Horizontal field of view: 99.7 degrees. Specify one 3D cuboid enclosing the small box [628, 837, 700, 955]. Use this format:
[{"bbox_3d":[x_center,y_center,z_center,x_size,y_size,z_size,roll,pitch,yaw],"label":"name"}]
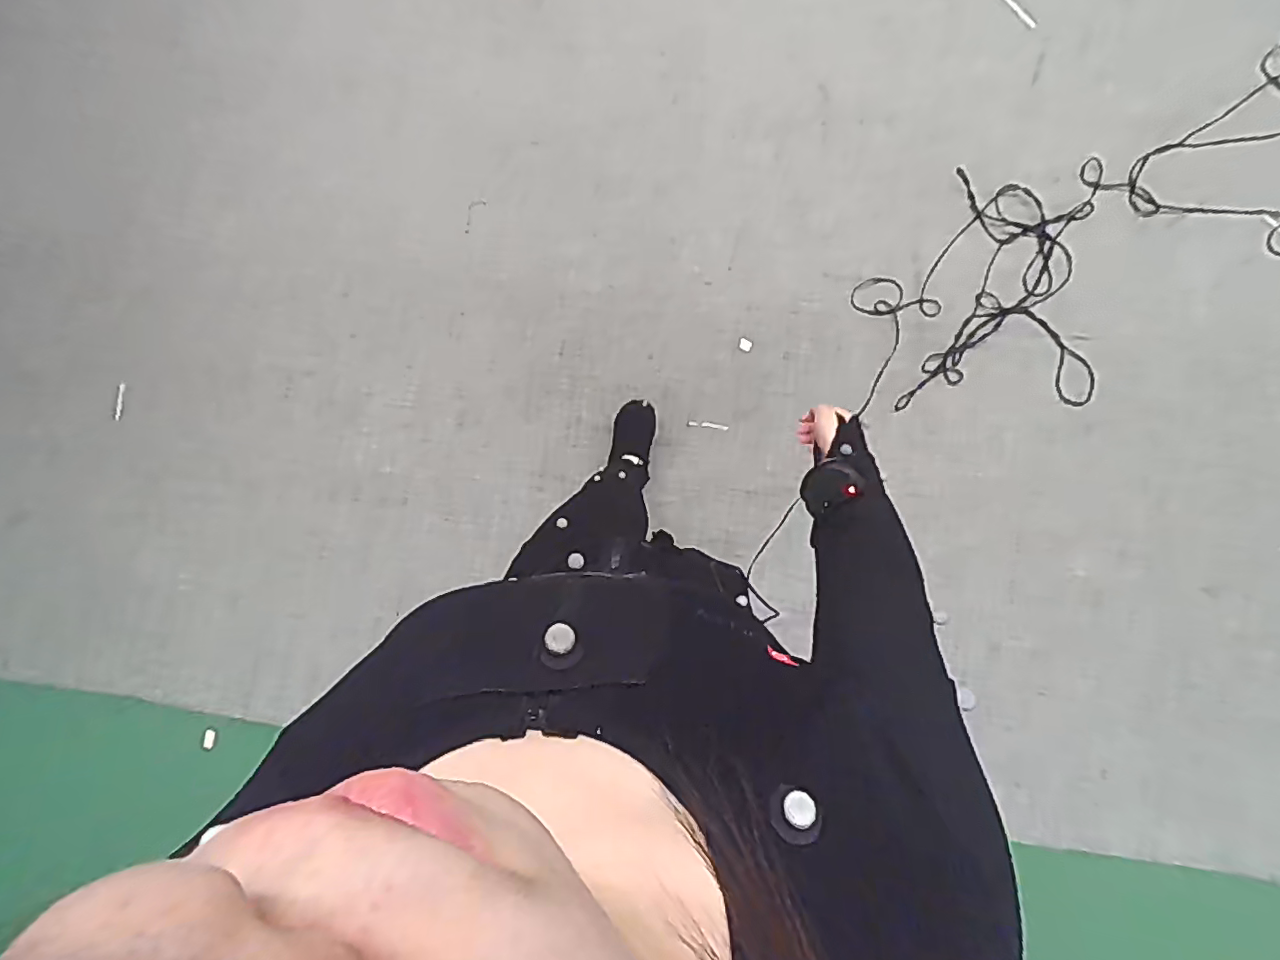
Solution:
[{"bbox_3d":[0.062,1.064,1.398,0.168,0.176,0.179,4,90,3],"label":"small box"}]
